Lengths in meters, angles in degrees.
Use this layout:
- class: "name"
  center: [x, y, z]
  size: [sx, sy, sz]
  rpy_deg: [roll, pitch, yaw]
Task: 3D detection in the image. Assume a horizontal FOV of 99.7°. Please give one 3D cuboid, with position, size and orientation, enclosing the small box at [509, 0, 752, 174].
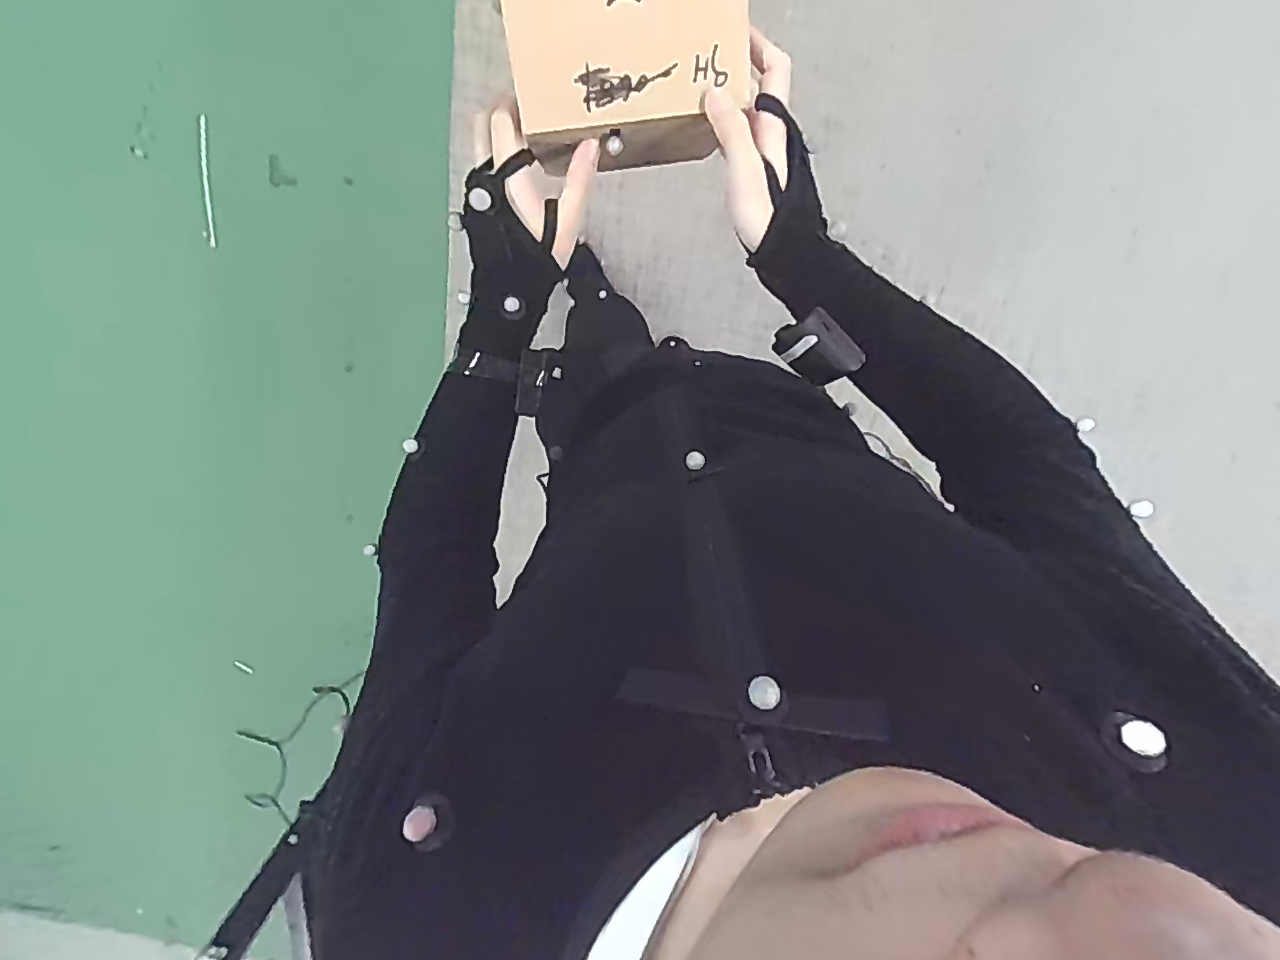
- class: "small box"
  center: [-0.013, -0.365, 0.431]
  size: [0.168, 0.176, 0.179]
  rpy_deg: [-6, 110, -1]
